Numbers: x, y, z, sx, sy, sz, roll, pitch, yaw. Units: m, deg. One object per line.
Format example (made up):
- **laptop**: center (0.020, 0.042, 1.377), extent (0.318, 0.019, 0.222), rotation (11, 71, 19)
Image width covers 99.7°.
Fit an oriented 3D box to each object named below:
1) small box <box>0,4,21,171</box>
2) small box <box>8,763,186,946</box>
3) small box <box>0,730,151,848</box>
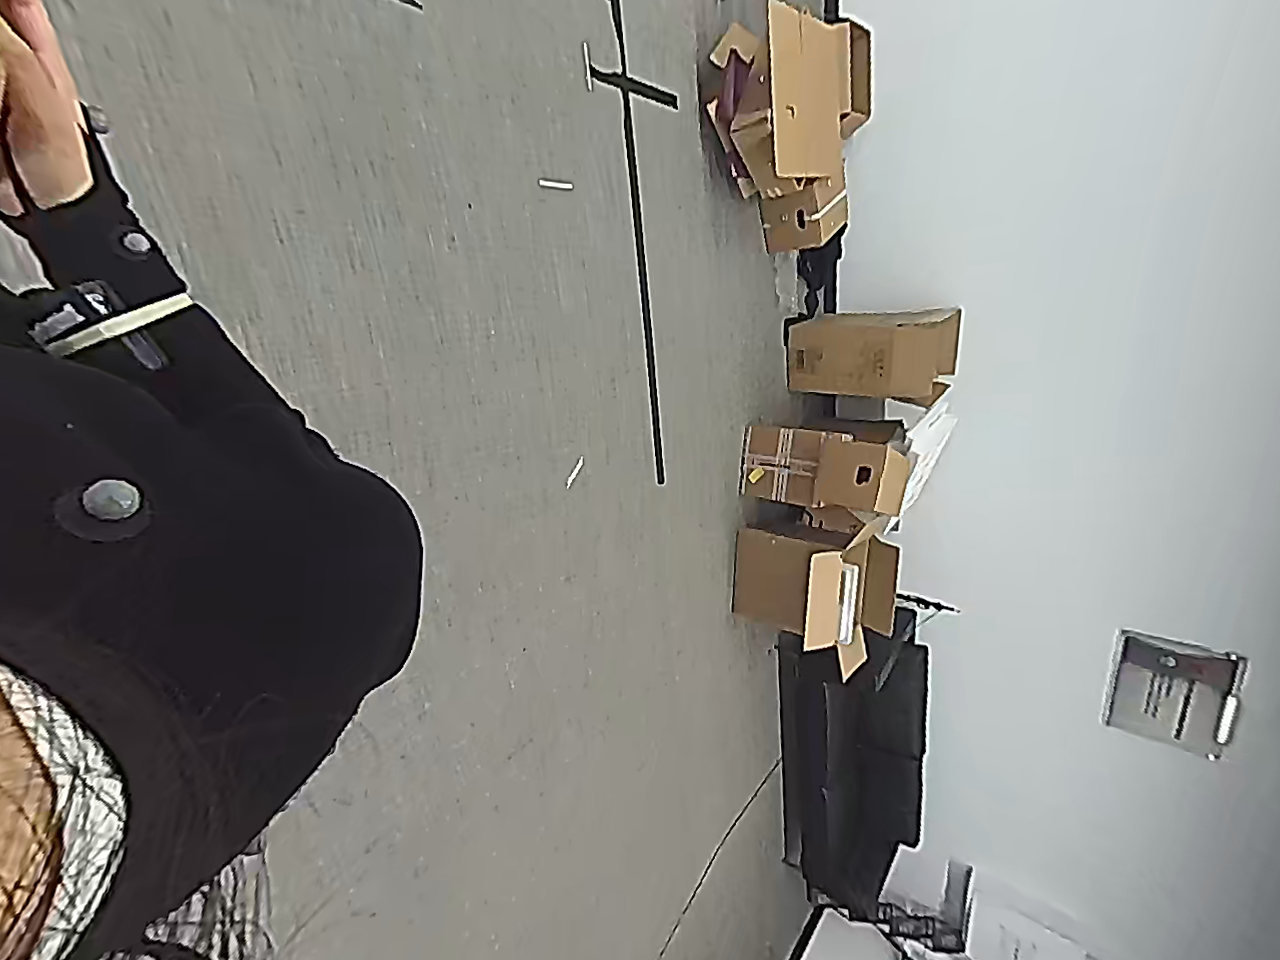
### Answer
- **small box**: center (-0.402, -0.237, 0.219), extent (0.168, 0.176, 0.179), rotation (-20, 102, -52)
- **small box**: center (-0.975, 0.656, 0.974), extent (0.179, 0.176, 0.168), rotation (-28, 117, -45)
- **small box**: center (-1.106, 0.642, 1.073), extent (0.179, 0.176, 0.168), rotation (-31, 120, -44)
